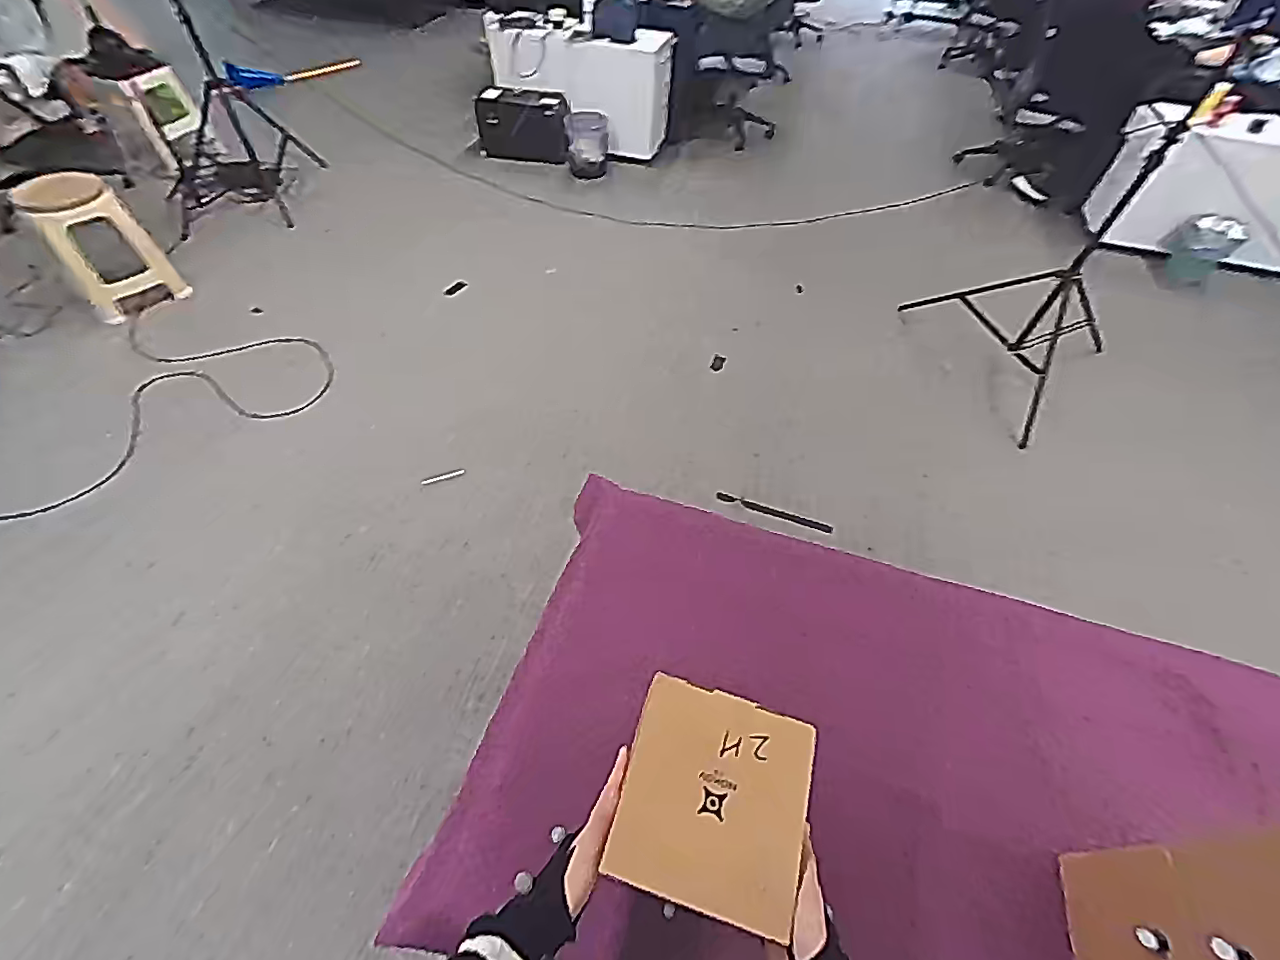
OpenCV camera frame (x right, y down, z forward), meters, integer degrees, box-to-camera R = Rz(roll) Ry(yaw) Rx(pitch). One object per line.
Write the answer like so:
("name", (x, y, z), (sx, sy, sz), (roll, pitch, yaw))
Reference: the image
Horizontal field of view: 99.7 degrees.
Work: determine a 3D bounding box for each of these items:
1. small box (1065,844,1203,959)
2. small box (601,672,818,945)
("small box", (0.560, 0.487, 0.522), (0.168, 0.176, 0.179), (15, 52, 9))
("small box", (0.066, 0.328, 0.556), (0.168, 0.176, 0.179), (17, 56, 6))
